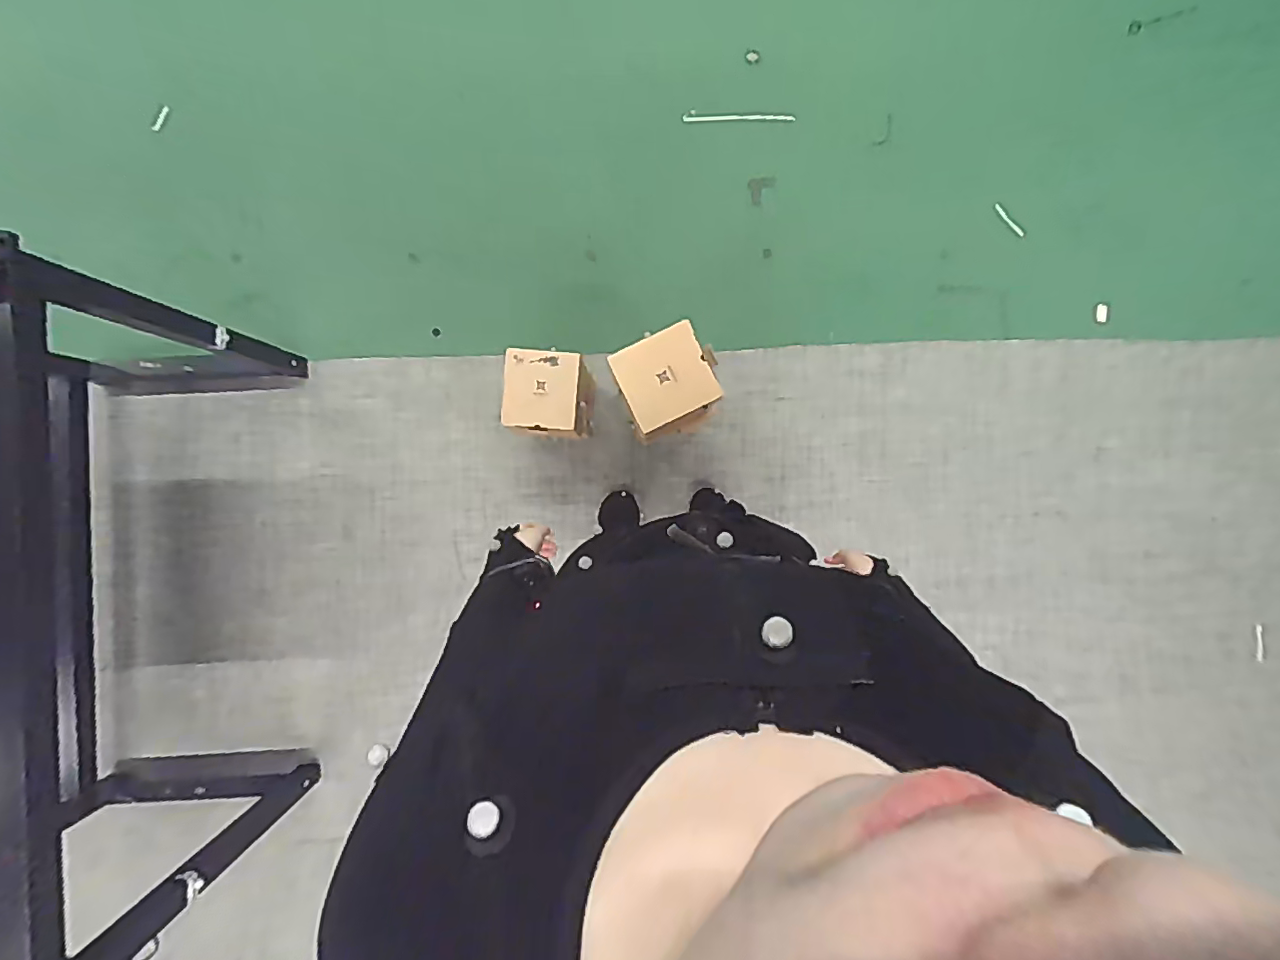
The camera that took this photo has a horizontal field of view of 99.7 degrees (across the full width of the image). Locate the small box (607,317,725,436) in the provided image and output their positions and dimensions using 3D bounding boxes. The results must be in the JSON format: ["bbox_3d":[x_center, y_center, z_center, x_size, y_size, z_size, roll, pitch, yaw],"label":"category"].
[{"bbox_3d":[0.050,-0.198,1.094,0.179,0.176,0.168,-26,91,-1],"label":"small box"}]

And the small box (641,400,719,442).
[{"bbox_3d":[0.064,-0.195,1.257,0.179,0.176,0.168,-22,92,-1],"label":"small box"}]

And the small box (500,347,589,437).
[{"bbox_3d":[-0.215,-0.197,1.253,0.168,0.176,0.179,5,90,1],"label":"small box"}]
